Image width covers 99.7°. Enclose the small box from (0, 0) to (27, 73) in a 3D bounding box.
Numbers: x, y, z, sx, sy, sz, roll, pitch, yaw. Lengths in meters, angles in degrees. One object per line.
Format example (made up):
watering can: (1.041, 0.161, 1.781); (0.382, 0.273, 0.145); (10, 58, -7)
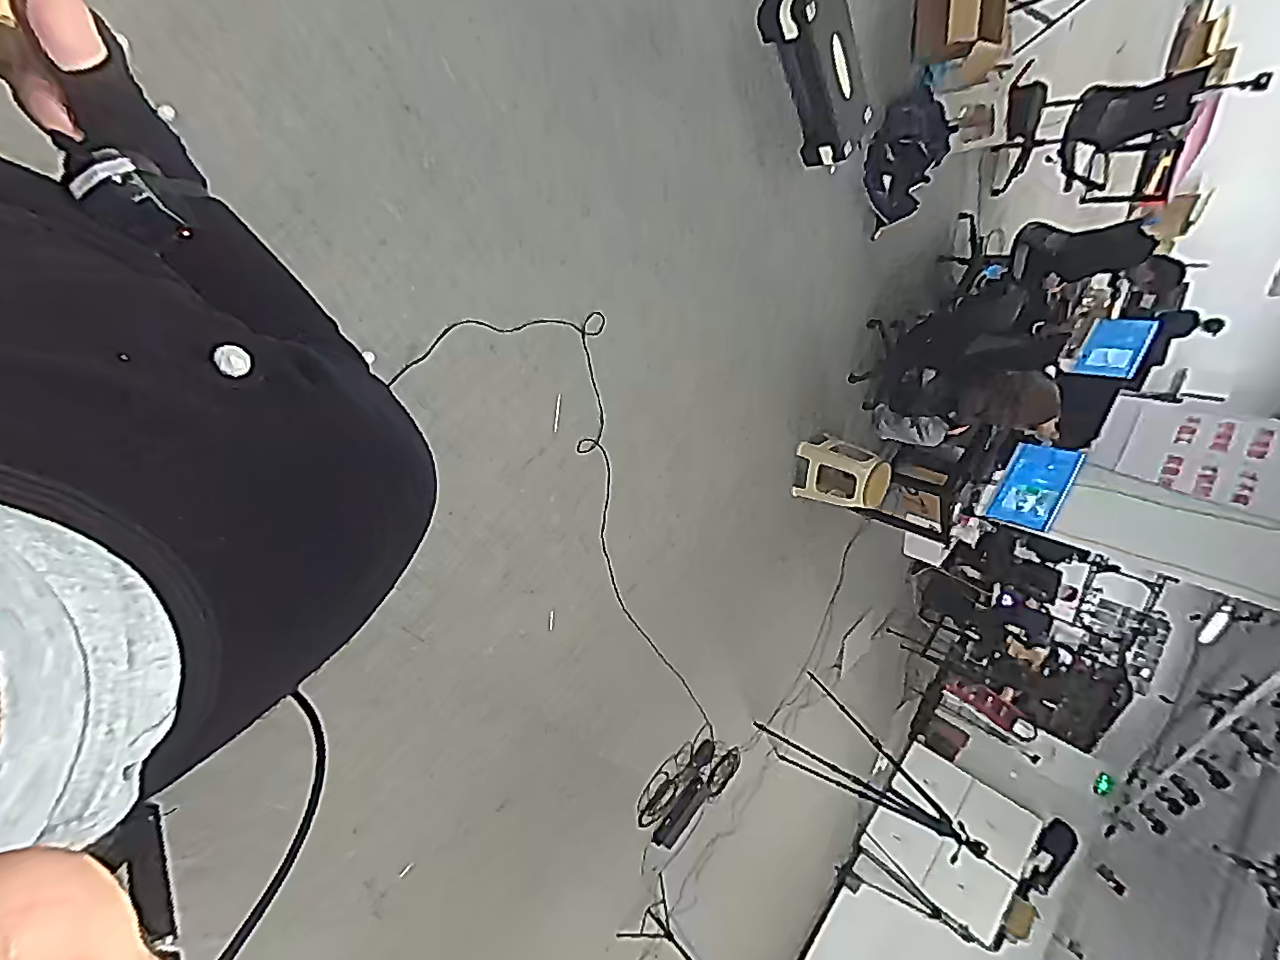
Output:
small box: (-0.446, -0.323, 0.259); (0.179, 0.176, 0.168); (-16, 118, -44)
